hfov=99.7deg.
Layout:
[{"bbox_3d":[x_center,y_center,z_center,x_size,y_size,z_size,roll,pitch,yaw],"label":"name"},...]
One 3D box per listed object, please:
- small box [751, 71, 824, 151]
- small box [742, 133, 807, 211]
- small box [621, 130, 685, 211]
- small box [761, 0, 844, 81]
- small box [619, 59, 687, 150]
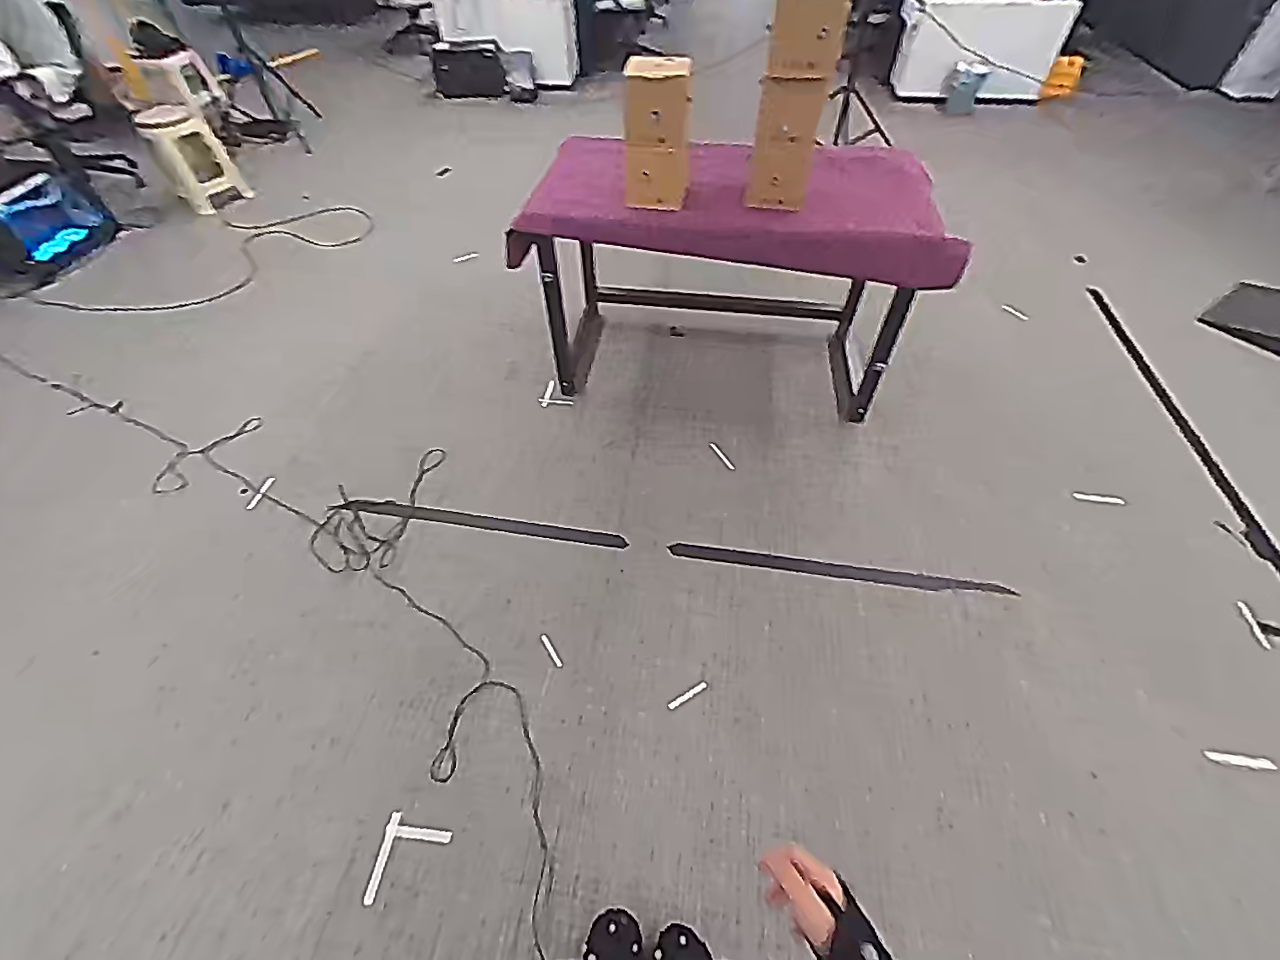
[{"bbox_3d":[0.399,-1.024,1.473,0.168,0.176,0.179,8,52,8],"label":"small box"},{"bbox_3d":[0.397,-0.918,1.598,0.168,0.176,0.179,9,51,7],"label":"small box"},{"bbox_3d":[0.042,-0.919,1.606,0.168,0.176,0.179,7,50,6],"label":"small box"},{"bbox_3d":[0.395,-1.109,1.332,0.168,0.176,0.179,6,51,5],"label":"small box"},{"bbox_3d":[0.039,-1.028,1.484,0.168,0.176,0.179,5,51,5],"label":"small box"}]
